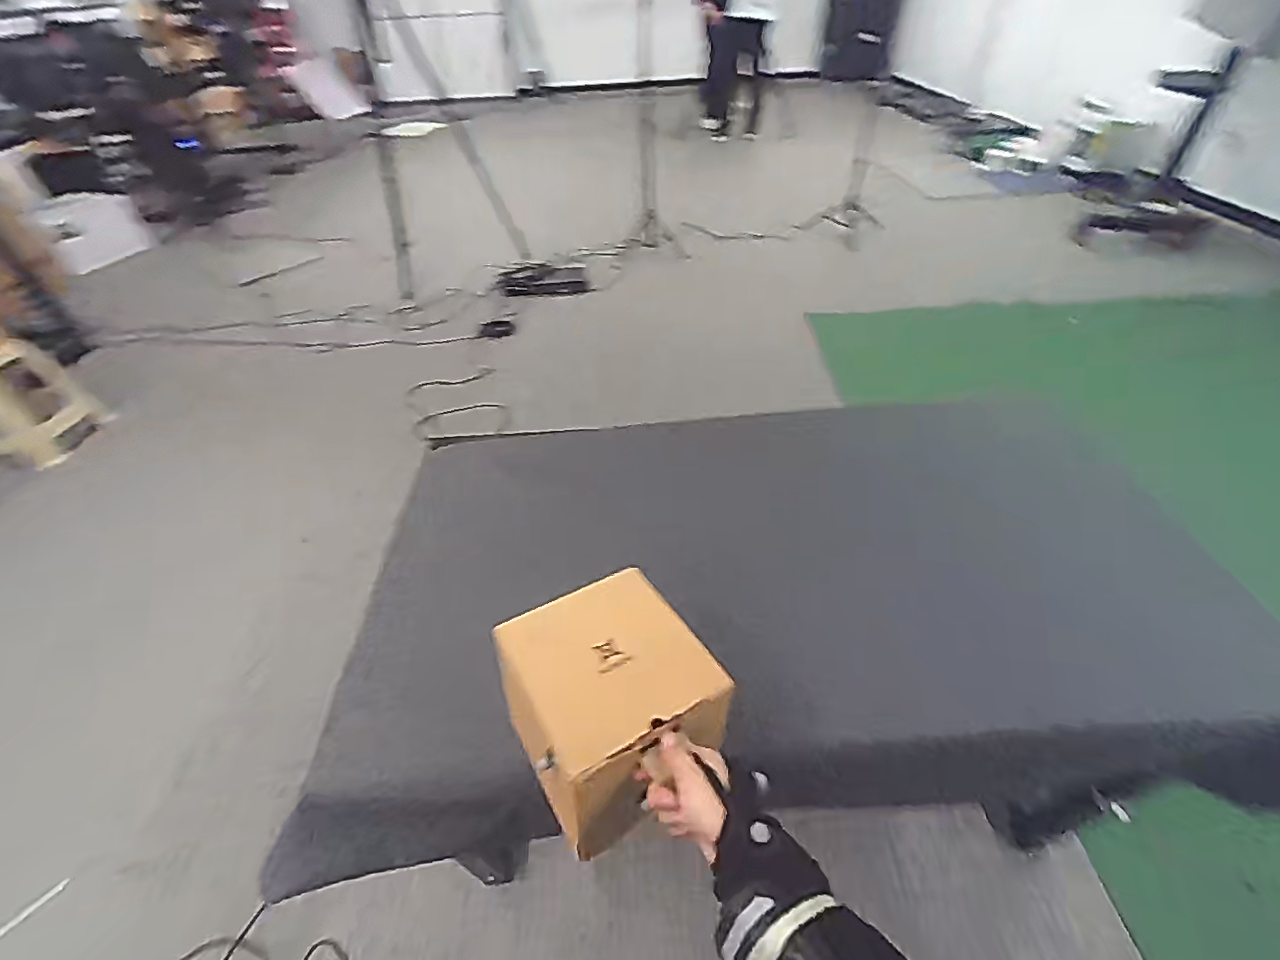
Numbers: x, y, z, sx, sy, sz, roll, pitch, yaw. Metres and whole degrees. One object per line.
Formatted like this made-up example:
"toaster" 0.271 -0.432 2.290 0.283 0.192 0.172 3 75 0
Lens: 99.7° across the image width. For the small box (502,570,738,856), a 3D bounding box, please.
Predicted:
"small box" -0.026 0.231 0.556 0.168 0.176 0.179 -21 42 -27
